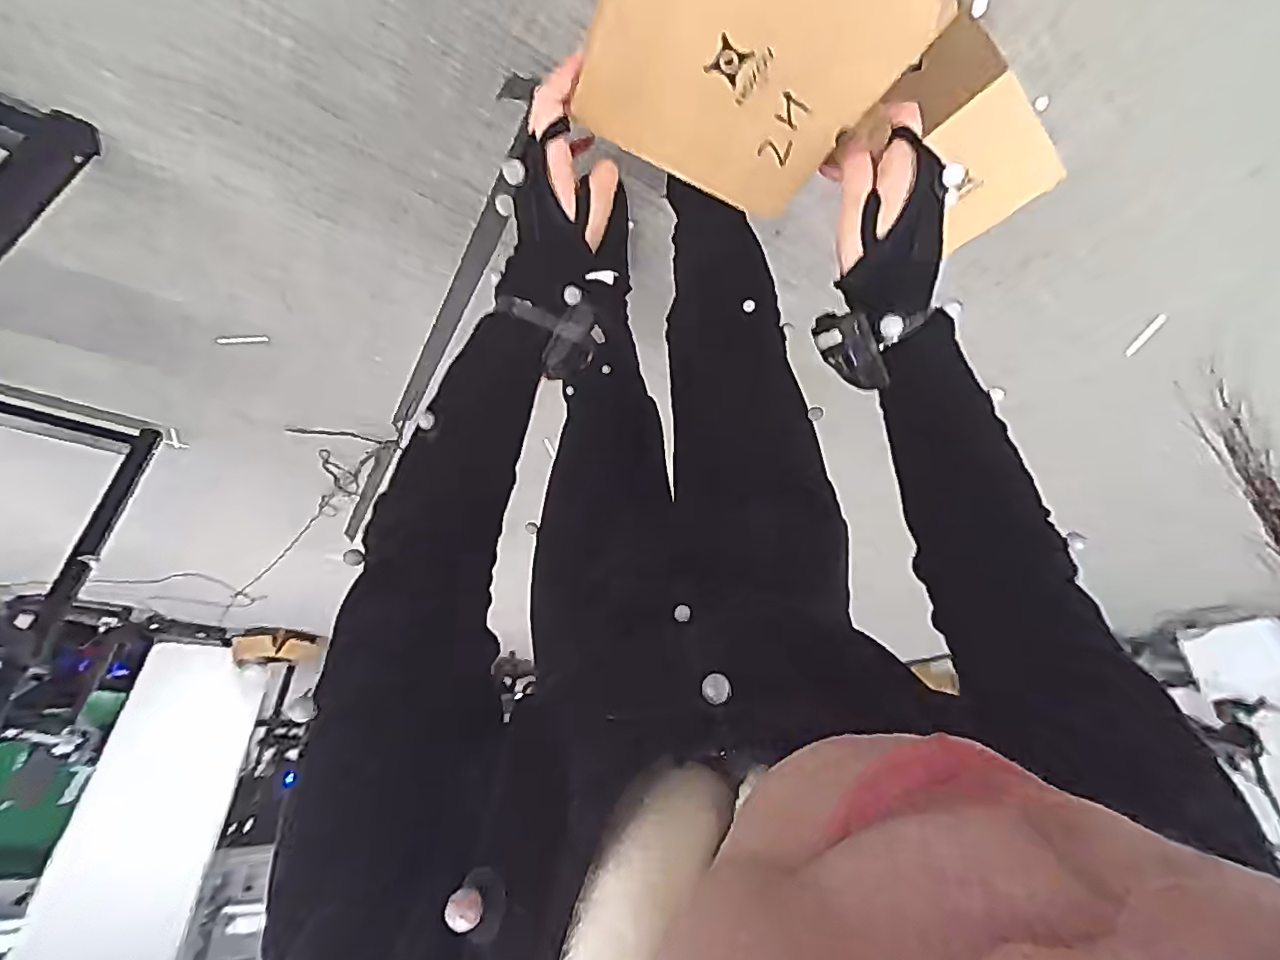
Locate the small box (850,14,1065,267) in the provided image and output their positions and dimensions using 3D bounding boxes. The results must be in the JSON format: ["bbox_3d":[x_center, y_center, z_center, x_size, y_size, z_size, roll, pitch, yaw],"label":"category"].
[{"bbox_3d":[0.381,-0.415,0.673,0.179,0.176,0.168,24,143,-34],"label":"small box"}]

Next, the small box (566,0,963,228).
[{"bbox_3d":[0.071,-0.317,0.355,0.179,0.176,0.168,17,156,-20],"label":"small box"}]
